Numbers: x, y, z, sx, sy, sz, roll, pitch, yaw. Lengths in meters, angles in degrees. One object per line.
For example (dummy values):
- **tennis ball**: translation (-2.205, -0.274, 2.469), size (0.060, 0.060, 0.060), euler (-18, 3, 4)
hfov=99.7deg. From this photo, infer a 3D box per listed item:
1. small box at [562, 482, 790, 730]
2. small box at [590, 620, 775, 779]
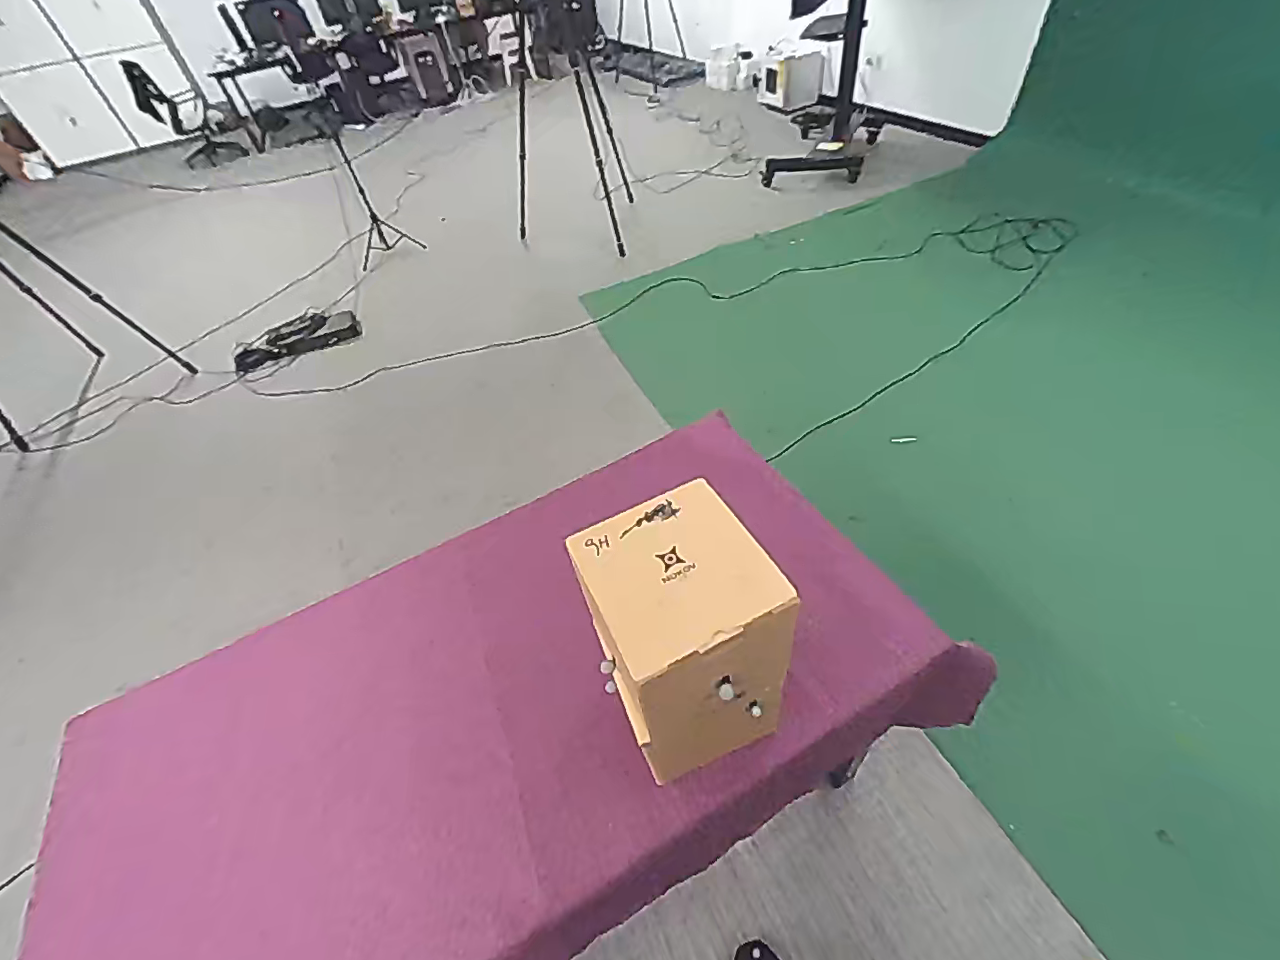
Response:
- **small box**: translation (0.037, 0.140, 0.576), size (0.168, 0.176, 0.179), euler (-23, 49, -12)
- **small box**: translation (0.055, 0.252, 0.695), size (0.179, 0.176, 0.168), euler (-21, 48, -10)
